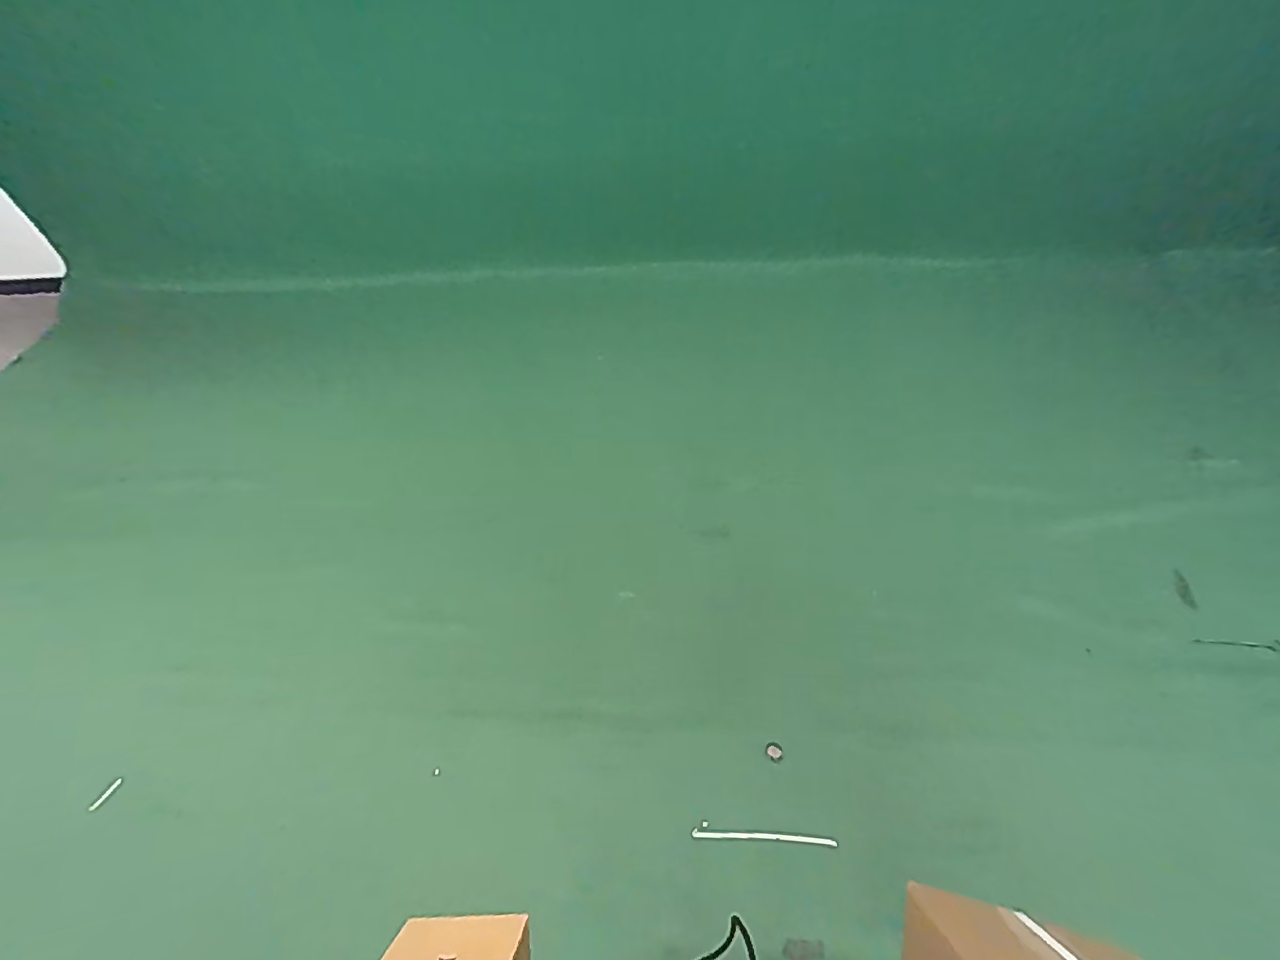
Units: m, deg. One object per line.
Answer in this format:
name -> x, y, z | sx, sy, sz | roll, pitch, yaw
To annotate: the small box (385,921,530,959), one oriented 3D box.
small box -> -0.230, 0.665, 0.632 | 0.168, 0.179, 0.176 | -4, 84, 2
